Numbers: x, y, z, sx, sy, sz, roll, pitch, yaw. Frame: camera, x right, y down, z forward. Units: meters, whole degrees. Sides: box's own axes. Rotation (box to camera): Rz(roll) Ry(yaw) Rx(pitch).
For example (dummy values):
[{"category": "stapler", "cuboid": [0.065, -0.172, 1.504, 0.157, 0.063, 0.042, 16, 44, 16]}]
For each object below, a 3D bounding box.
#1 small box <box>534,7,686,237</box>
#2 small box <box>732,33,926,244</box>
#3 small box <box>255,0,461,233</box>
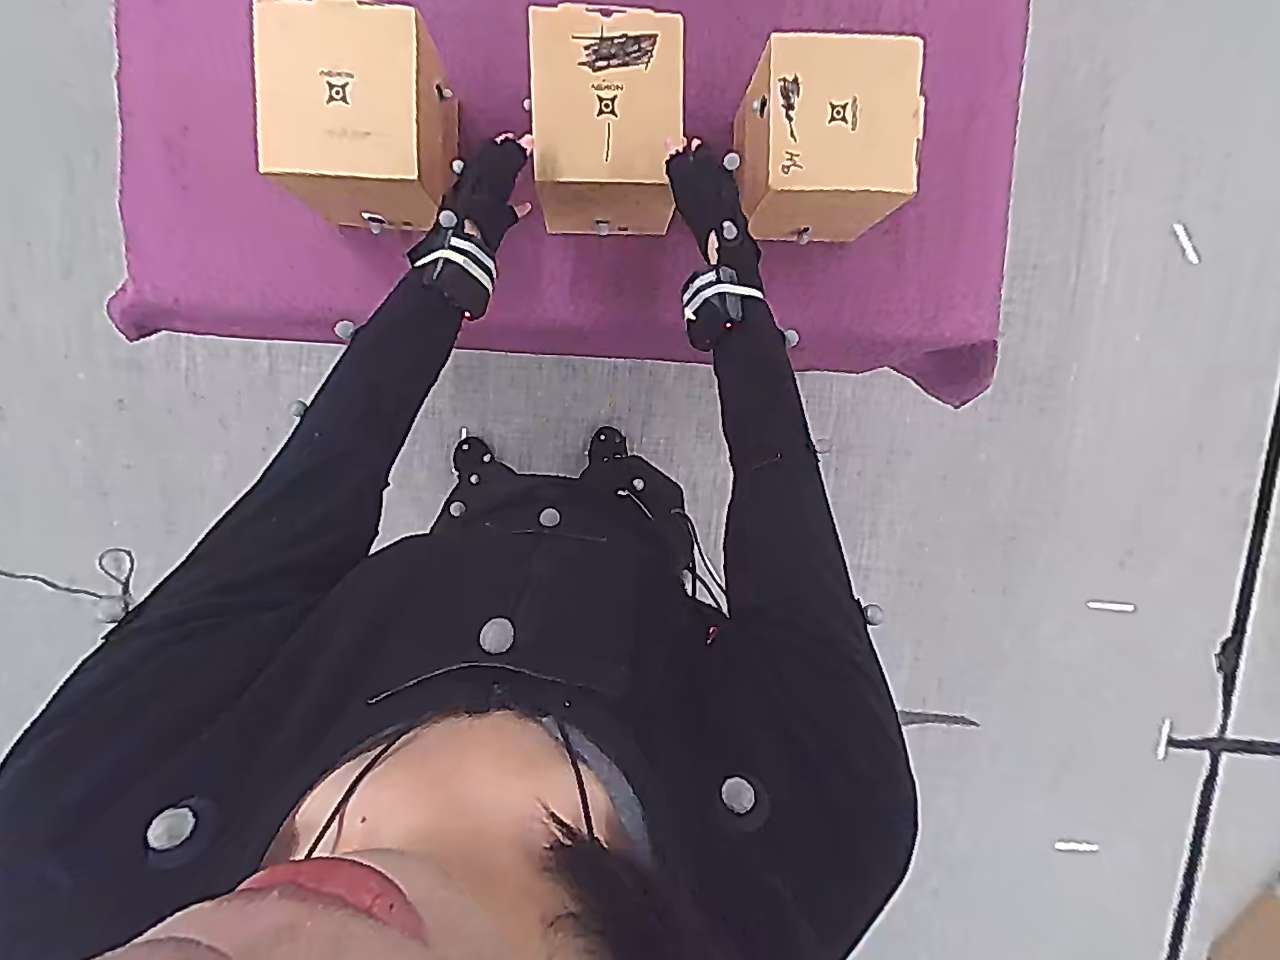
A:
[{"category": "small box", "cuboid": [-0.039, -0.418, 0.659, 0.168, 0.176, 0.179, -1, 96, -4]}, {"category": "small box", "cuboid": [0.225, -0.410, 0.680, 0.179, 0.176, 0.168, 0, 95, -4]}, {"category": "small box", "cuboid": [-0.317, -0.416, 0.640, 0.168, 0.176, 0.179, 1, 96, -3]}]
